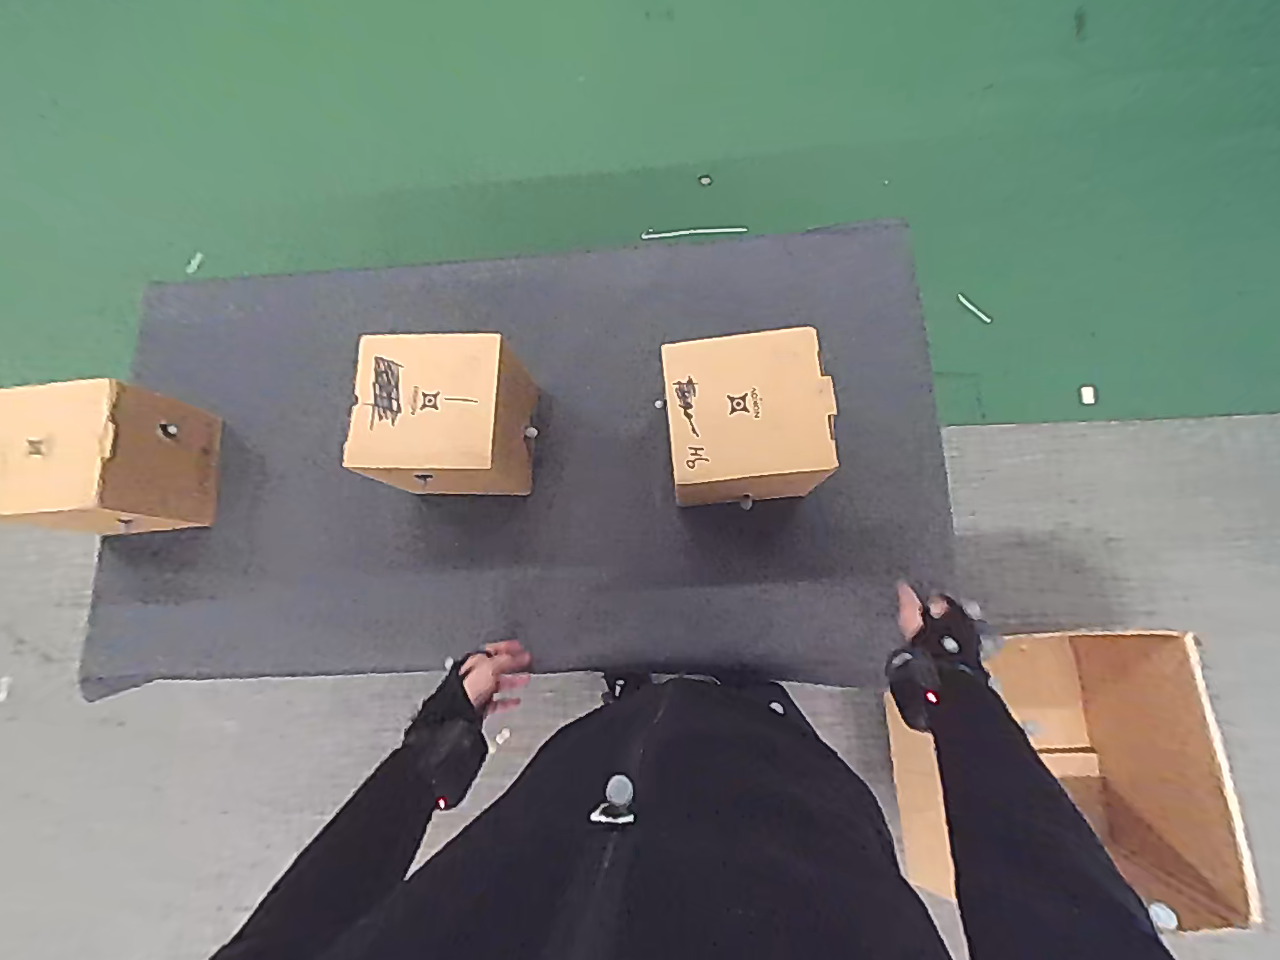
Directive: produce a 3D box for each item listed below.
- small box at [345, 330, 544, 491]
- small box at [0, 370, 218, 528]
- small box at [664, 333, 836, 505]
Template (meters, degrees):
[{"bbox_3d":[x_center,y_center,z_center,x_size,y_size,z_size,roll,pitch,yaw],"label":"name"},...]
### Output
[{"bbox_3d":[-0.240,-0.081,0.704,0.179,0.176,0.168,4,81,6],"label":"small box"},{"bbox_3d":[-0.714,-0.031,0.723,0.179,0.176,0.168,-6,77,5],"label":"small box"},{"bbox_3d":[0.128,-0.066,0.689,0.179,0.176,0.168,-8,79,4],"label":"small box"}]
